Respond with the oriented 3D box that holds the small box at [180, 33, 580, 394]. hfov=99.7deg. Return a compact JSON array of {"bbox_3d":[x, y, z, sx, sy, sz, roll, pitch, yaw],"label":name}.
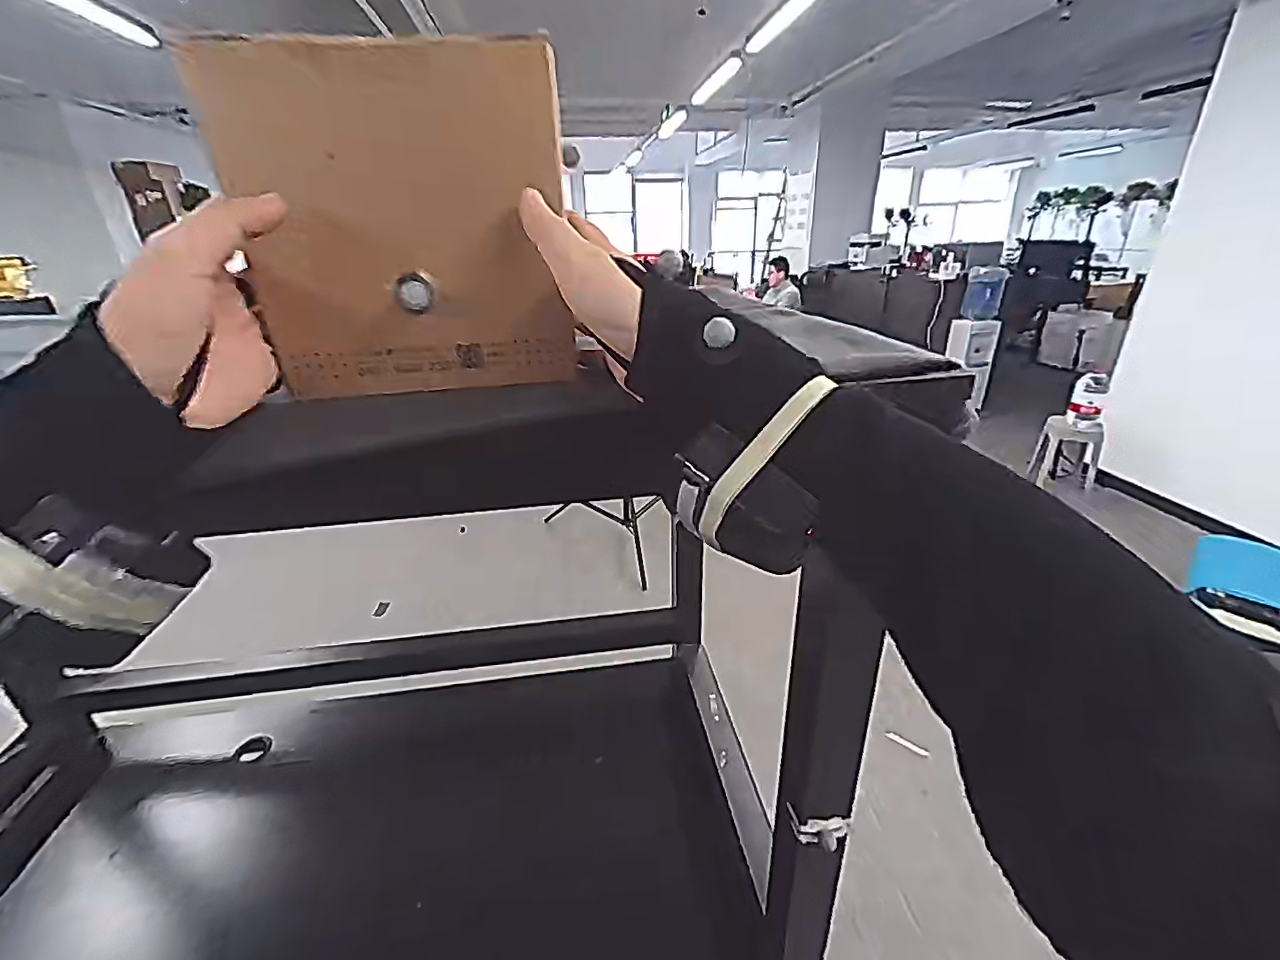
[{"bbox_3d":[-0.131,-0.164,0.353,0.168,0.176,0.179,-6,29,-6],"label":"small box"}]
